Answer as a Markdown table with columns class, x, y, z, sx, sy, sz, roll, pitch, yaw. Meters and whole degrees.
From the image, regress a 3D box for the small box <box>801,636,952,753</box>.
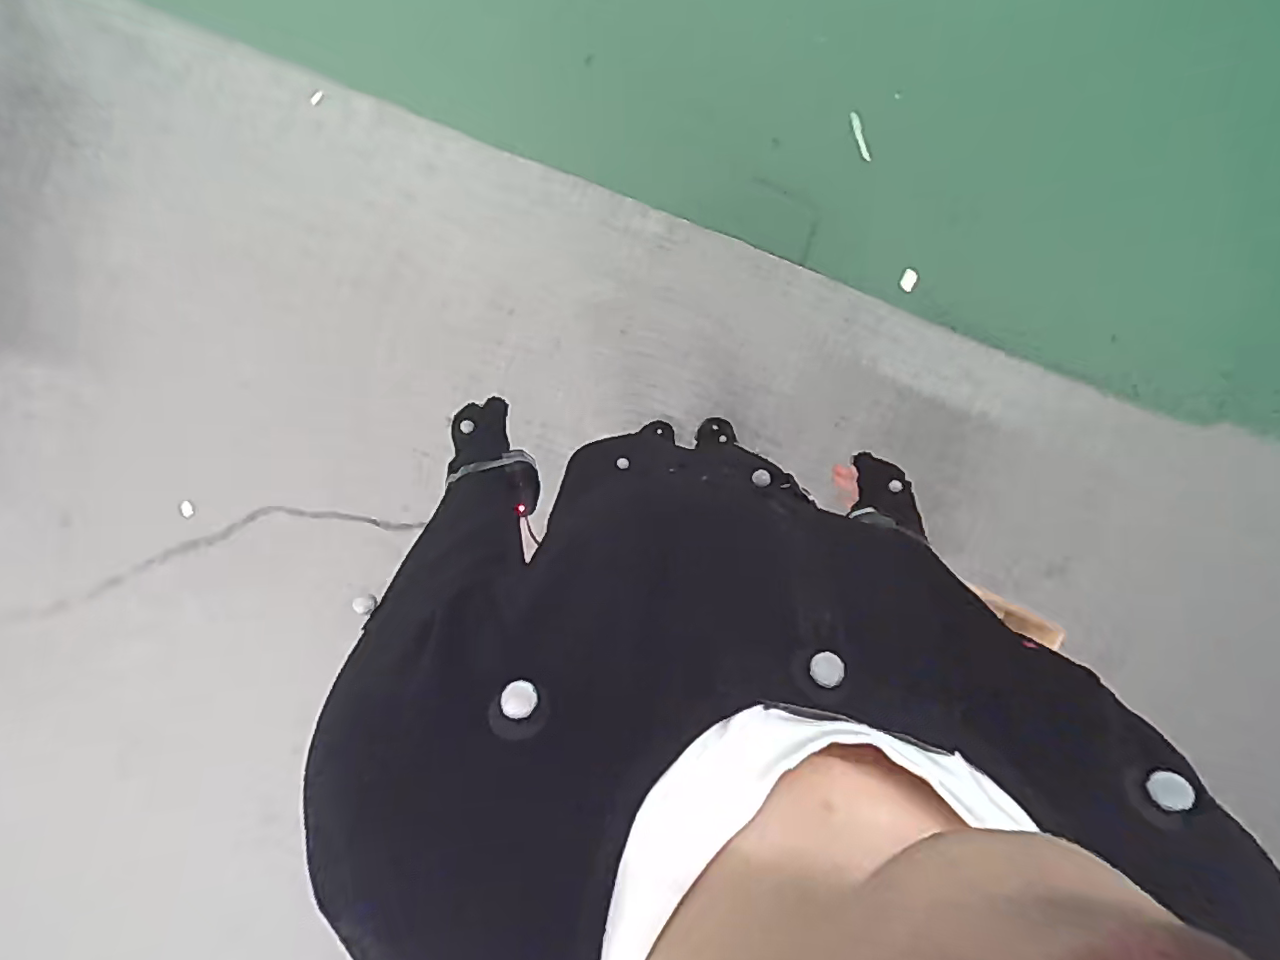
| class | x | y | z | sx | sy | sz | roll | pitch | yaw |
| --- | --- | --- | --- | --- | --- | --- | --- | --- | --- |
| small box | 0.434 | 0.421 | 1.026 | 0.179 | 0.176 | 0.168 | 23 | 99 | -5 |
